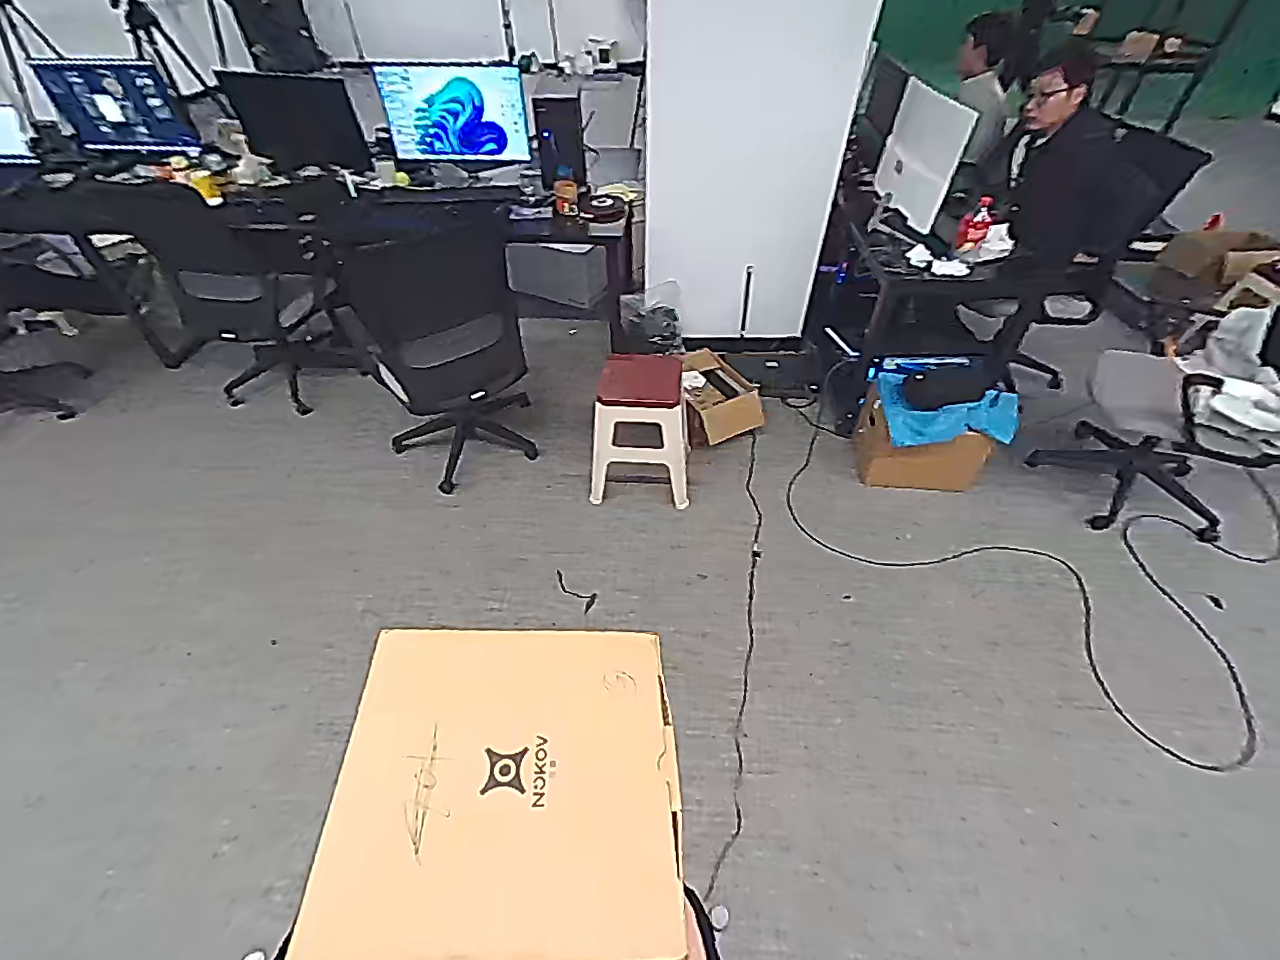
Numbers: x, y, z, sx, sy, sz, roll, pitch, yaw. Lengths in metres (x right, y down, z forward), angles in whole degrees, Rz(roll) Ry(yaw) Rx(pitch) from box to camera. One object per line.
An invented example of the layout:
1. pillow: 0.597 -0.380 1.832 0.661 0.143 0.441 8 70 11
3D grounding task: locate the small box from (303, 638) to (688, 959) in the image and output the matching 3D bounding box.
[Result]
1. small box: -0.077 0.220 0.355 0.179 0.176 0.168 2 44 -8
